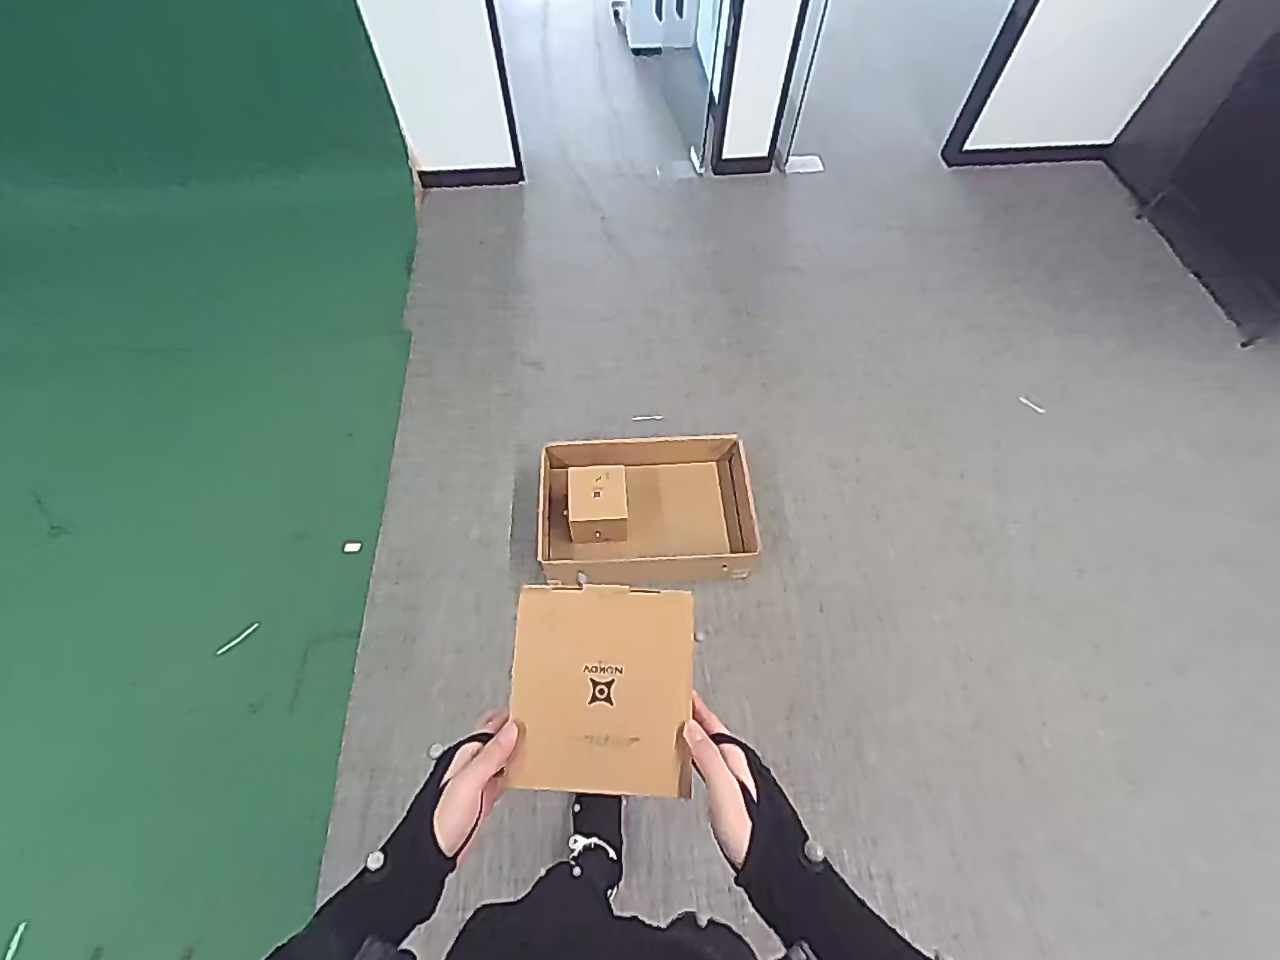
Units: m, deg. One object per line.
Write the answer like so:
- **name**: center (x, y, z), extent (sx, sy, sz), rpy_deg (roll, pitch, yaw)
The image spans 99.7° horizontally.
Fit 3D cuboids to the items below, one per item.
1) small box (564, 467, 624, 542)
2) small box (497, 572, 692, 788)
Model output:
- **small box**: center (-0.133, 0.078, 1.599), extent (0.168, 0.176, 0.179), rpy_deg (-2, 60, -4)
- **small box**: center (-0.035, 0.194, 0.561), extent (0.168, 0.176, 0.179), rpy_deg (2, 76, 4)
